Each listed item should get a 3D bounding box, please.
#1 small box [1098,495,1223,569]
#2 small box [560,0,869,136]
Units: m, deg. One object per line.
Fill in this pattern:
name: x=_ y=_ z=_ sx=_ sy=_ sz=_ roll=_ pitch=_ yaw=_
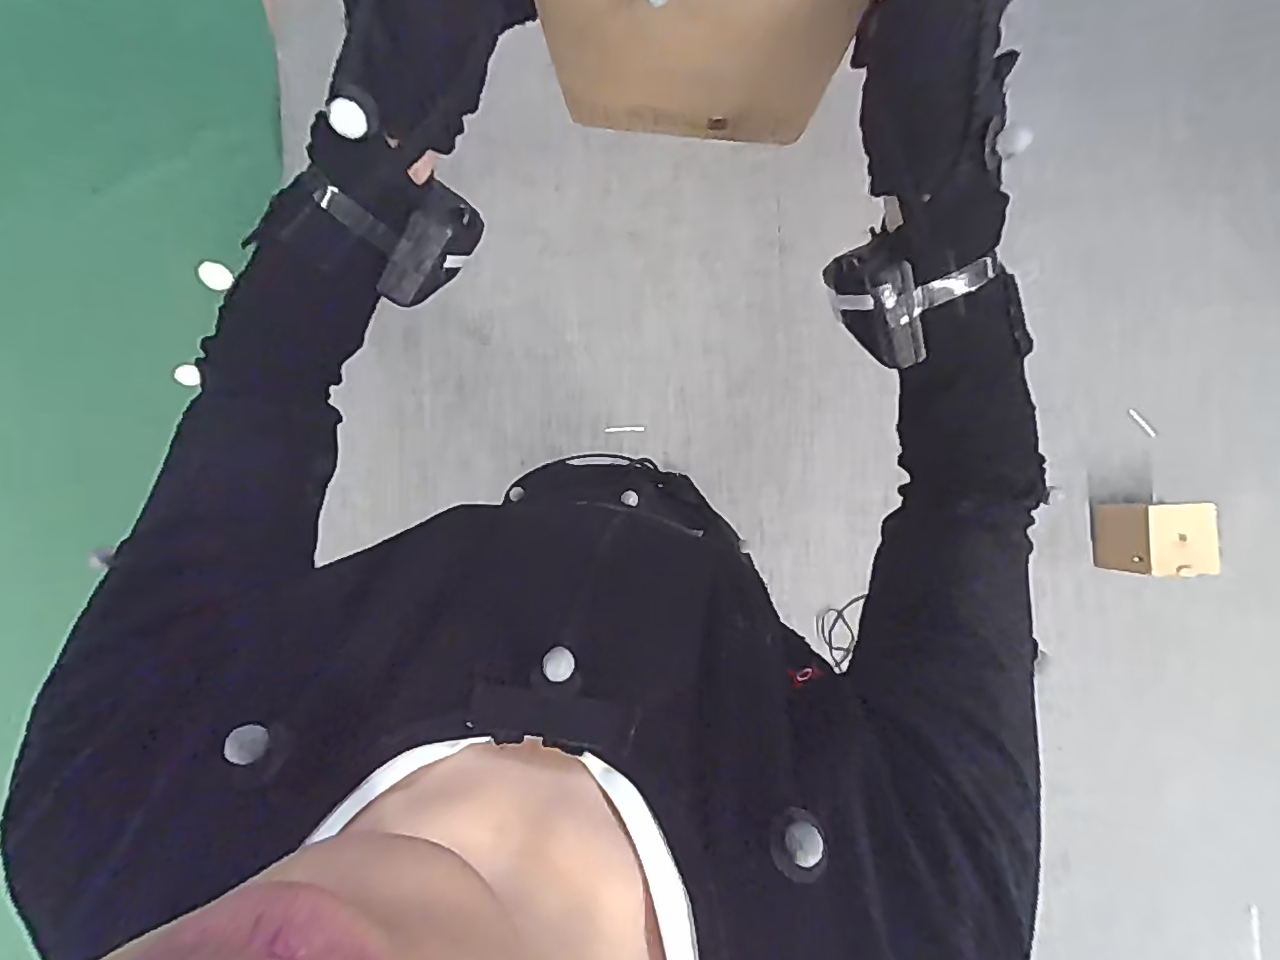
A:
small box: x=1.322 y=0.127 z=1.386 sx=0.168 sy=0.176 sz=0.179 roll=-2 pitch=90 yaw=1
small box: x=0.043 y=-0.330 z=0.295 sx=0.168 sy=0.176 sz=0.179 roll=7 pitch=97 yaw=2
